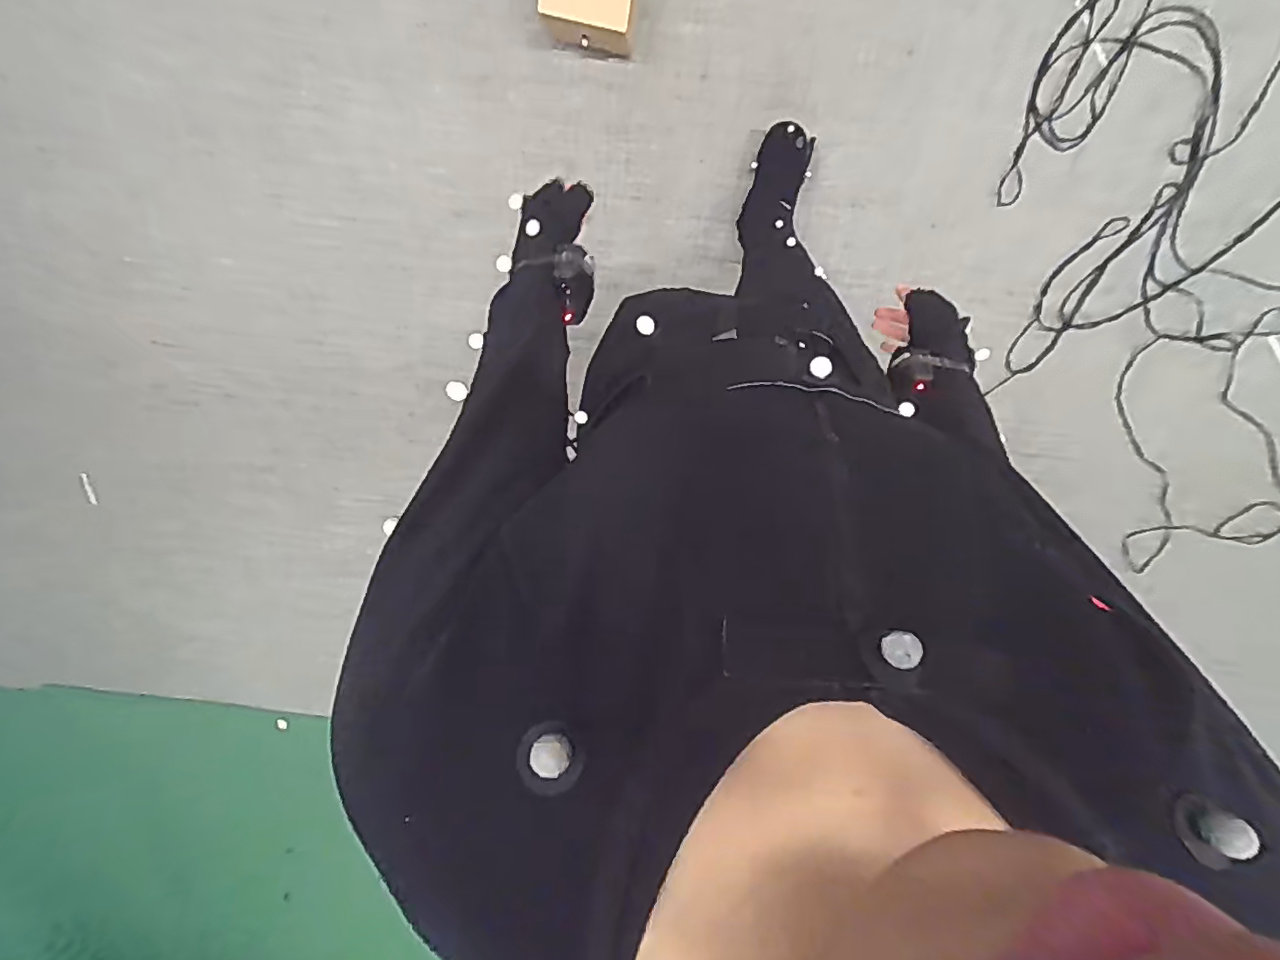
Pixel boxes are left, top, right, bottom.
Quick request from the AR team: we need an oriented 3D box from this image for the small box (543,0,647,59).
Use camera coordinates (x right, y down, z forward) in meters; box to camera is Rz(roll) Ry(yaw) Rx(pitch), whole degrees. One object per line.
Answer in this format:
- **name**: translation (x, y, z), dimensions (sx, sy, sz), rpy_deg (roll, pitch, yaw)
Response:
- **small box**: translation (-0.074, -0.925, 1.011), dimensions (0.168, 0.176, 0.179), rpy_deg (12, 115, -2)

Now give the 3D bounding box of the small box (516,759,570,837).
- **small box**: translation (-0.353, 1.165, 1.983), dimensions (0.168, 0.176, 0.179), rpy_deg (7, 115, 0)
